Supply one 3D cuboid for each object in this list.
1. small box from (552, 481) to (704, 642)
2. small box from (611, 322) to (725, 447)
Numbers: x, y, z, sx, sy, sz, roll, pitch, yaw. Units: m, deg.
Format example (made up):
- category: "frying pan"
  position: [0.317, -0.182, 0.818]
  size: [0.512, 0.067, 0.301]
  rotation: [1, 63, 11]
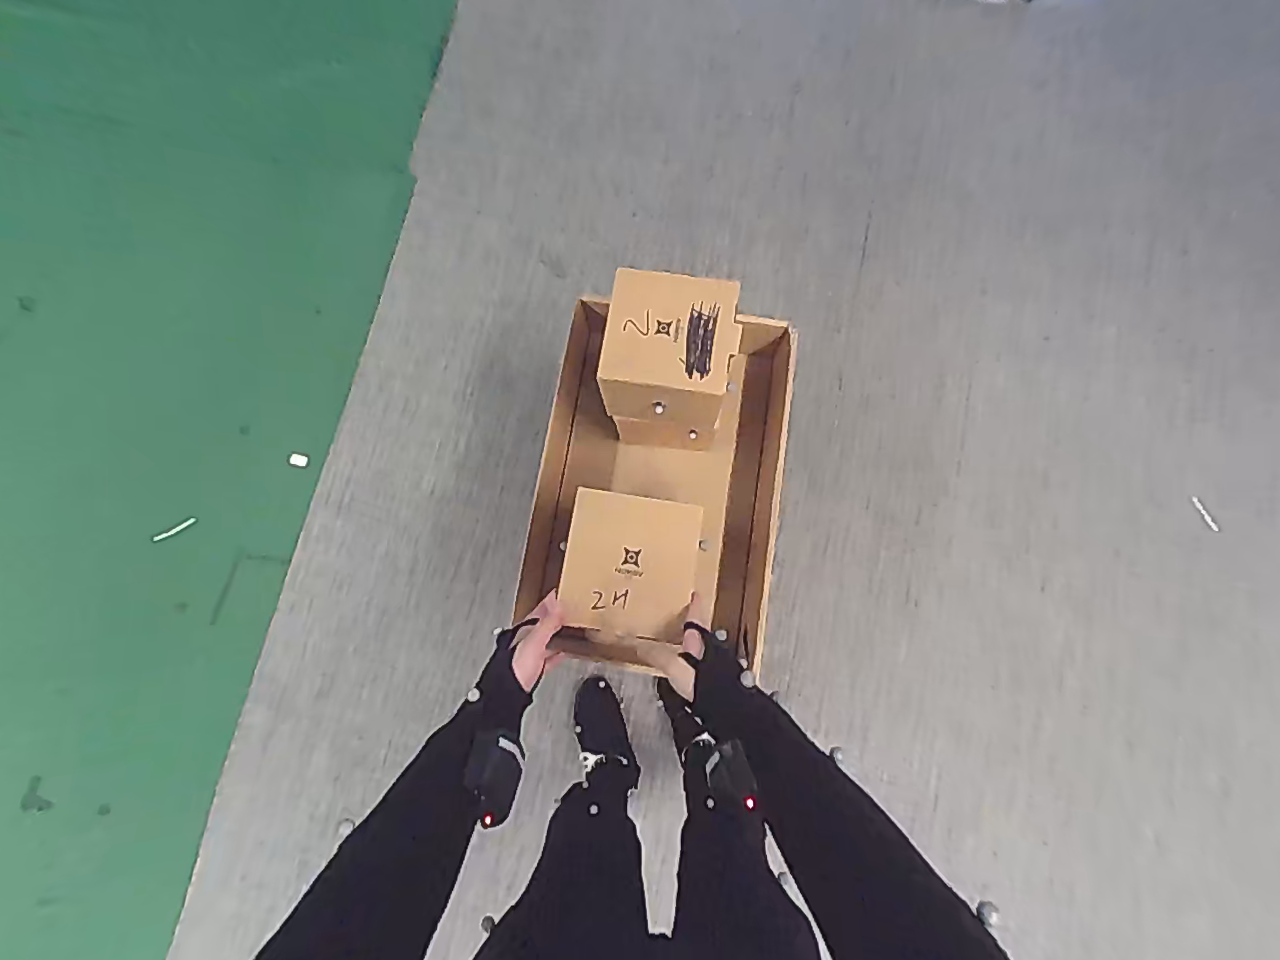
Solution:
- category: "small box"
  position: [-0.013, 0.113, 0.749]
  size: [0.168, 0.176, 0.179]
  rotation: [9, 80, 3]
- category: "small box"
  position: [0.048, -0.163, 0.967]
  size: [0.179, 0.176, 0.168]
  rotation: [6, 79, 1]
